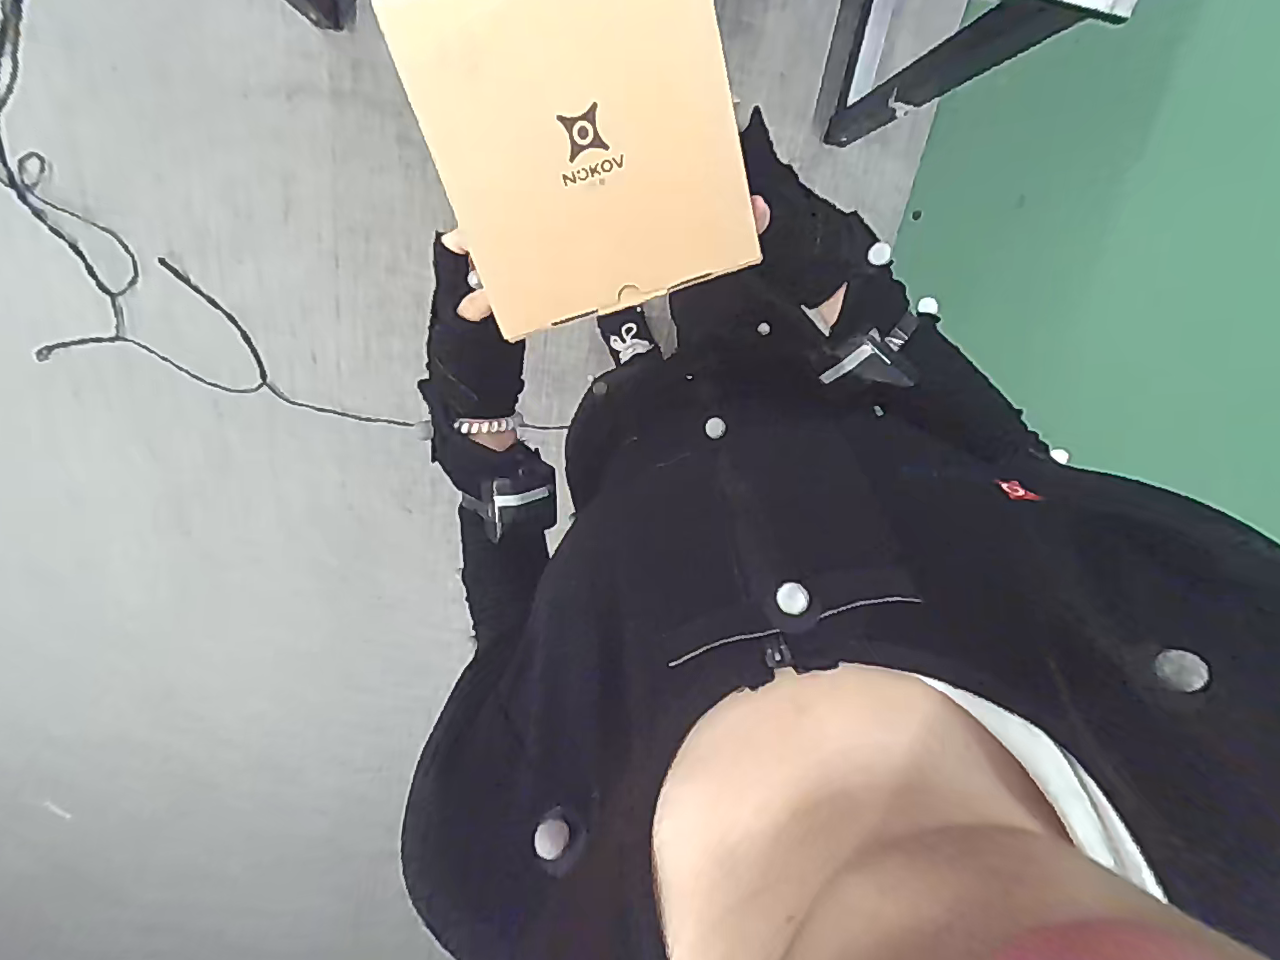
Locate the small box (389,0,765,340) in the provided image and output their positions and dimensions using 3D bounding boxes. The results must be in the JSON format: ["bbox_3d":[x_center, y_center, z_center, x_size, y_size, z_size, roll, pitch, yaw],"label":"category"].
[{"bbox_3d":[-0.031,-0.215,0.369,0.168,0.176,0.179,-17,115,4],"label":"small box"}]
